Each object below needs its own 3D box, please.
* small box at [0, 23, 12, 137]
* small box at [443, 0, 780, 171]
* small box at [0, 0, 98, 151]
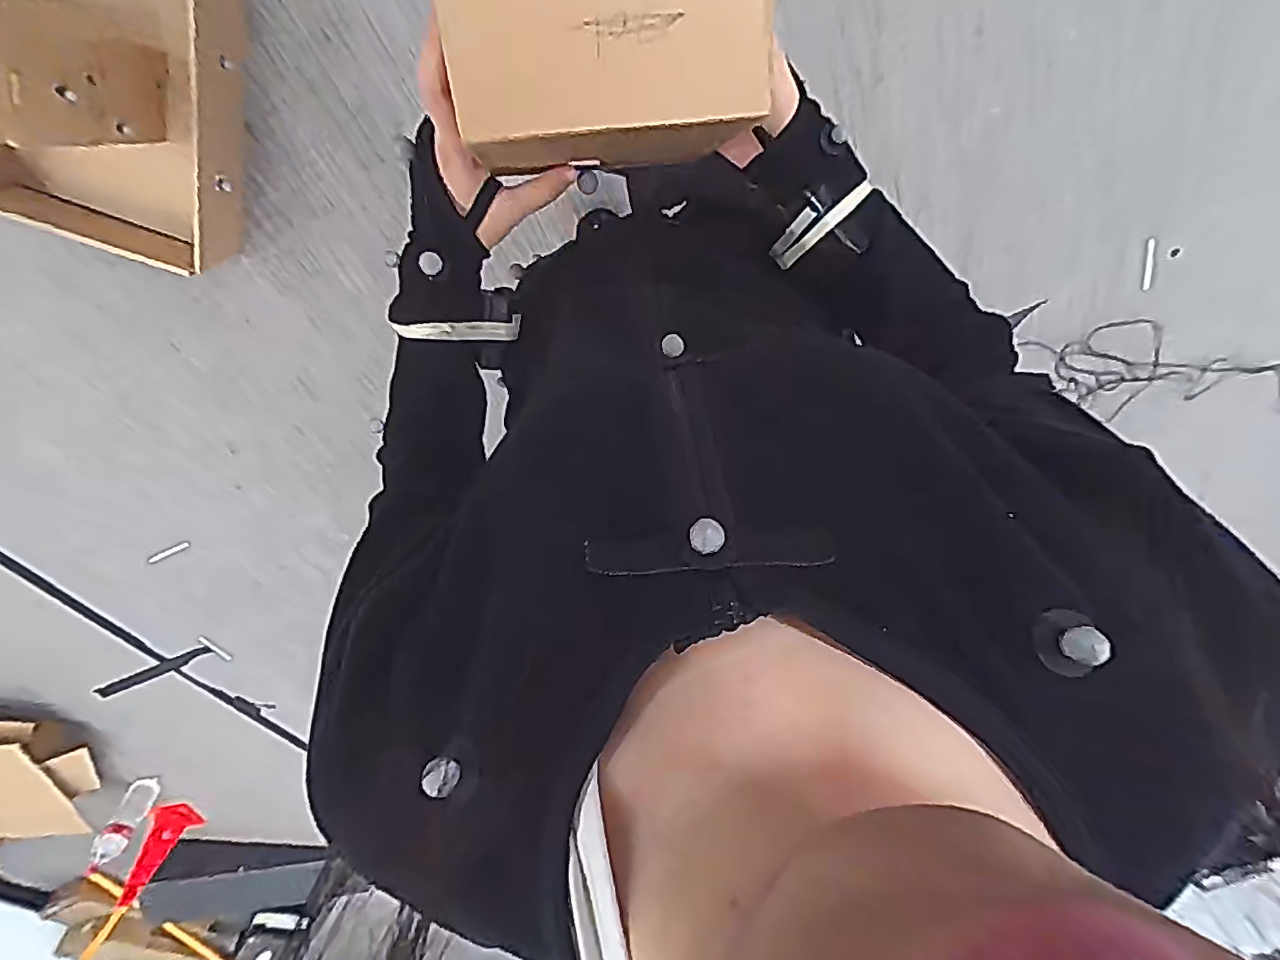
[{"bbox_3d":[-0.956,-0.542,0.664,0.179,0.176,0.168,20,118,-17],"label":"small box"},{"bbox_3d":[-0.027,-0.298,0.317,0.168,0.176,0.179,-9,114,-4],"label":"small box"},{"bbox_3d":[-0.965,-0.623,0.805,0.179,0.176,0.168,20,118,-18],"label":"small box"}]
